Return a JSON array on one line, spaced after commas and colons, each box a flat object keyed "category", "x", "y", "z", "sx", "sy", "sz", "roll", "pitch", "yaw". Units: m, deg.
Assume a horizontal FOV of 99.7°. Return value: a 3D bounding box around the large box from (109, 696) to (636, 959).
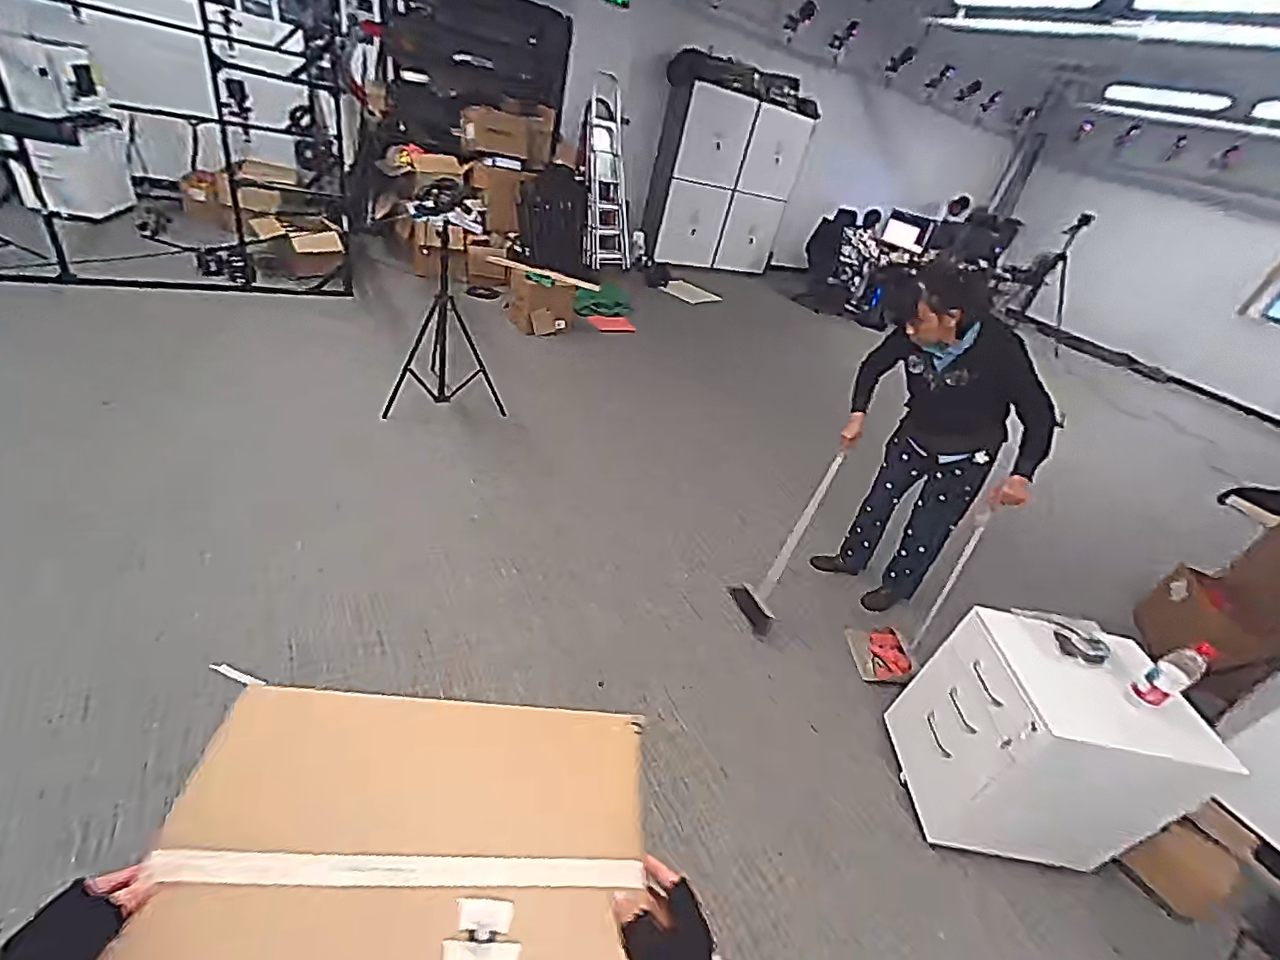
[{"category": "large box", "x": -0.237, "y": 0.458, "z": 0.565, "sx": 0.408, "sy": 0.320, "sz": 0.320, "roll": 8, "pitch": 38, "yaw": -12}]
